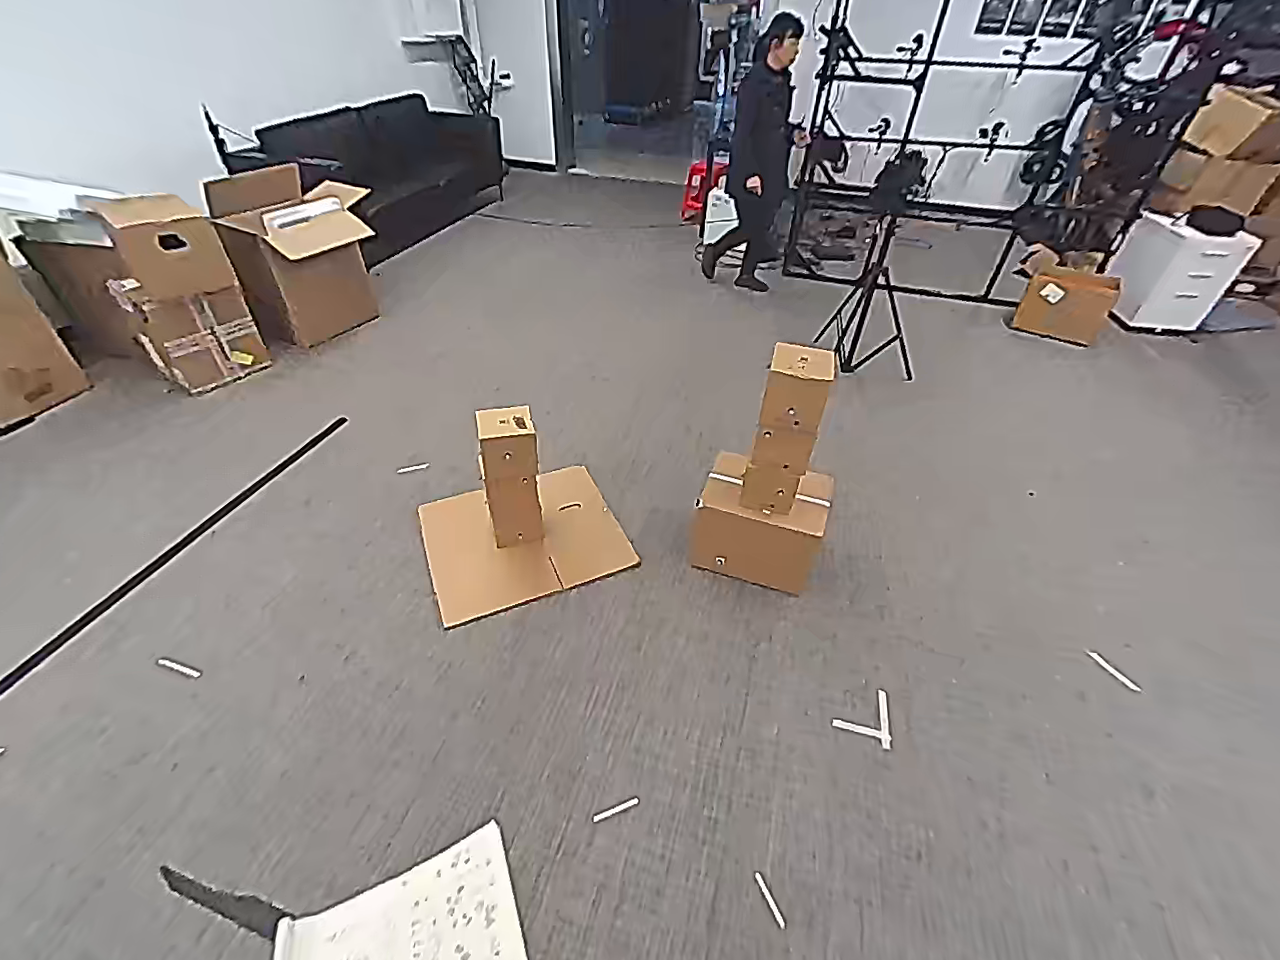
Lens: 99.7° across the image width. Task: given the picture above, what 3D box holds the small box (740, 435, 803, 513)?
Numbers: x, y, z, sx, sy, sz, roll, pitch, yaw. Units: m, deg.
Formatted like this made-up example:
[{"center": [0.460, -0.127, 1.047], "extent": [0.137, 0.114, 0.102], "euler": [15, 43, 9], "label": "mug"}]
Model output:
[{"center": [0.421, -0.016, 1.741], "extent": [0.168, 0.176, 0.179], "euler": [12, 41, 9], "label": "small box"}]

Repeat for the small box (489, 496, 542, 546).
[{"center": [-0.462, 0.120, 1.992], "extent": [0.179, 0.176, 0.168], "euler": [-11, 43, -18], "label": "small box"}]

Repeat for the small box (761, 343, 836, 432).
[{"center": [0.444, -0.262, 1.522], "extent": [0.168, 0.176, 0.179], "euler": [12, 42, 11], "label": "small box"}]

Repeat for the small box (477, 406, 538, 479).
[{"center": [-0.433, -0.122, 1.773], "extent": [0.179, 0.176, 0.168], "euler": [-8, 42, -14], "label": "small box"}]

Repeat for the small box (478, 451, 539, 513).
[{"center": [-0.458, -0.003, 1.885], "extent": [0.179, 0.176, 0.168], "euler": [-10, 42, -17], "label": "small box"}]
